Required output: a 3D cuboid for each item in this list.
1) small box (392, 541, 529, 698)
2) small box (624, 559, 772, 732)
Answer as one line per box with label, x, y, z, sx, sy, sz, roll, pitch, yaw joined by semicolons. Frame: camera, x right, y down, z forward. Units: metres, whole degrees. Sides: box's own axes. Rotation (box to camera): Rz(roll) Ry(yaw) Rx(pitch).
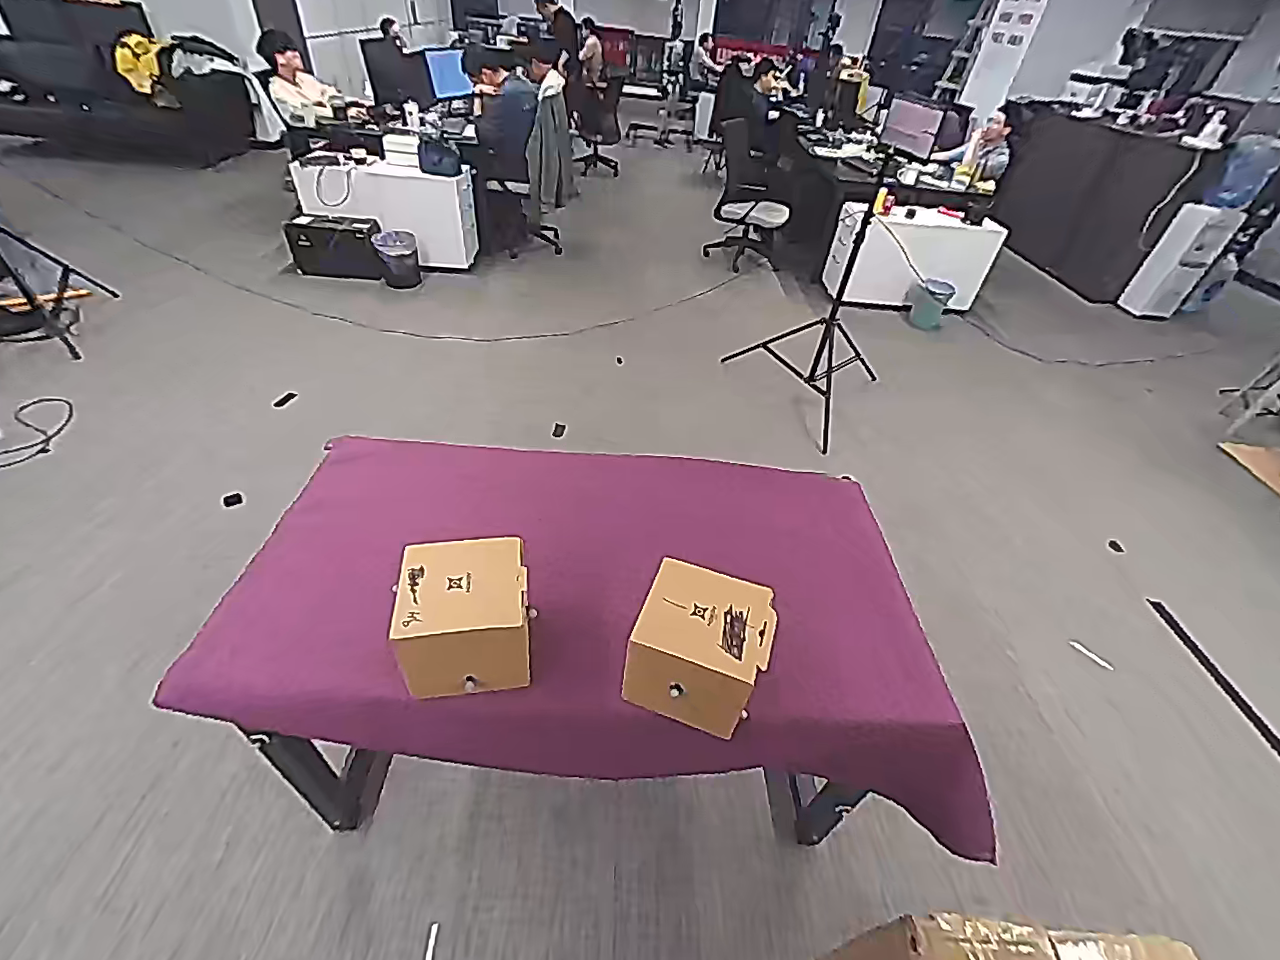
small box;-0.262;0.214;0.834;0.179;0.176;0.168;-3;41;-11
small box;0.086;0.256;0.830;0.179;0.176;0.168;16;41;13
